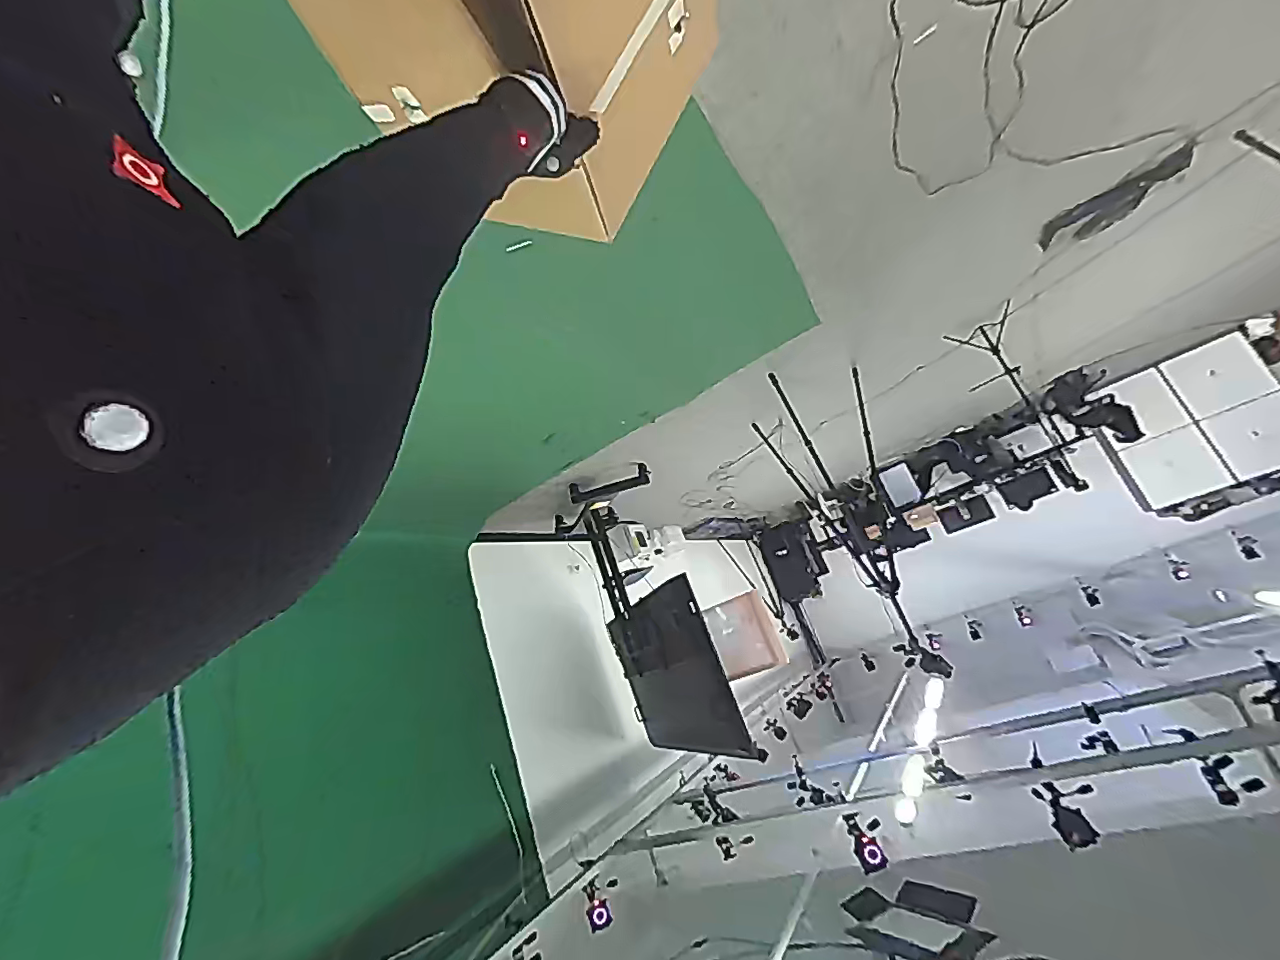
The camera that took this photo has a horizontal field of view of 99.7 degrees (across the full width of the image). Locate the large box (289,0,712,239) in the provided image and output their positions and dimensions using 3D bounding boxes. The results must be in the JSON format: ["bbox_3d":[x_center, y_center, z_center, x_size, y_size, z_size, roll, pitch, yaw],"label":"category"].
[{"bbox_3d":[-0.136,-0.595,0.696,0.320,0.408,0.320,19,165,19],"label":"large box"}]
